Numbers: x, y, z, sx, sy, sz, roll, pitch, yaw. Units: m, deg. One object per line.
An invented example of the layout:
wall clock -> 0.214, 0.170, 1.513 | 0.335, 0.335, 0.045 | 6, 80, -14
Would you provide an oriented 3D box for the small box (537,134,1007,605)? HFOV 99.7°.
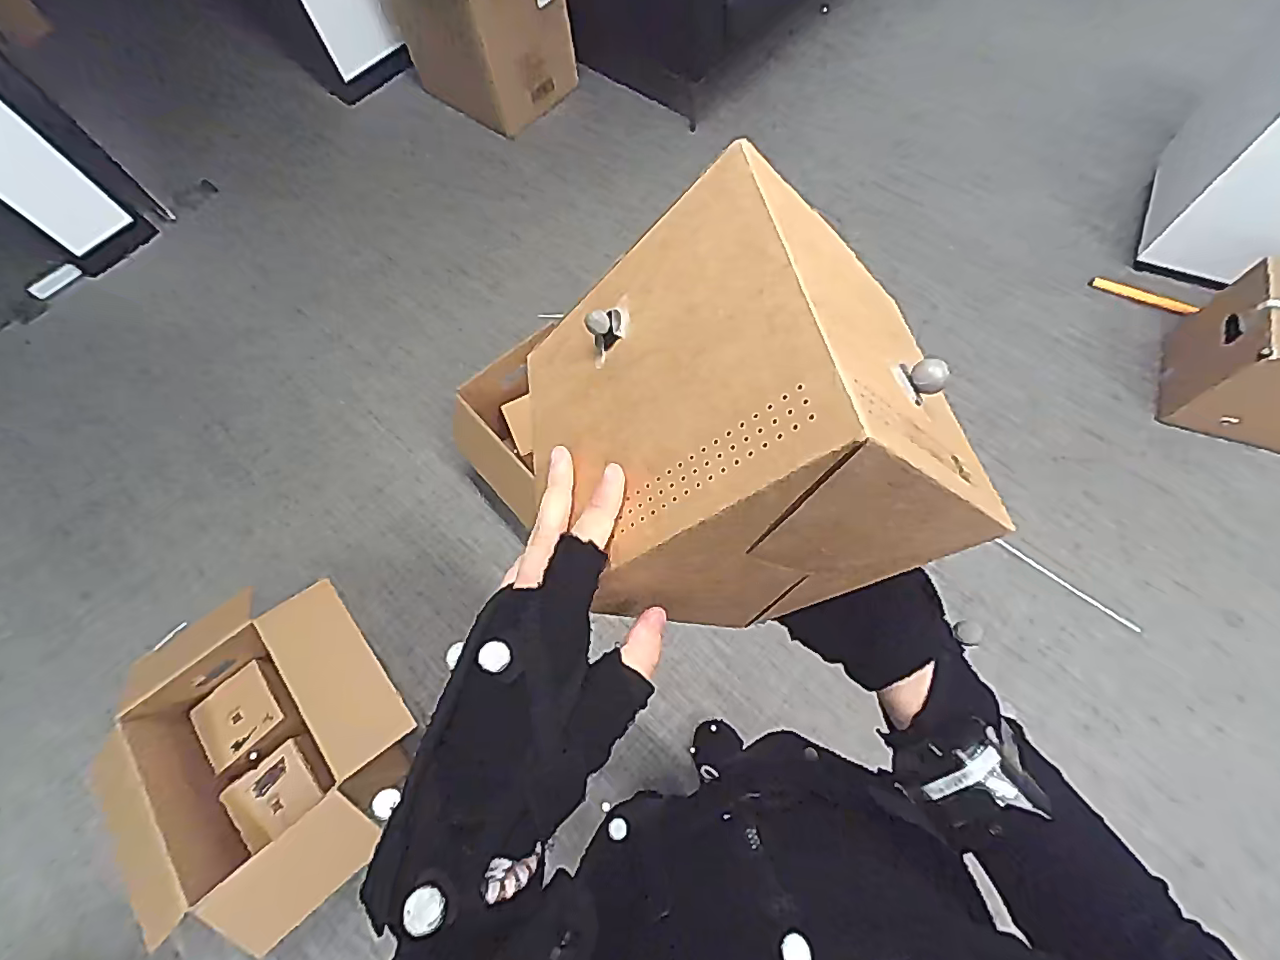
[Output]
small box -> 0.059, -0.031, 0.305 | 0.179, 0.168, 0.176 | -32, 54, 36
